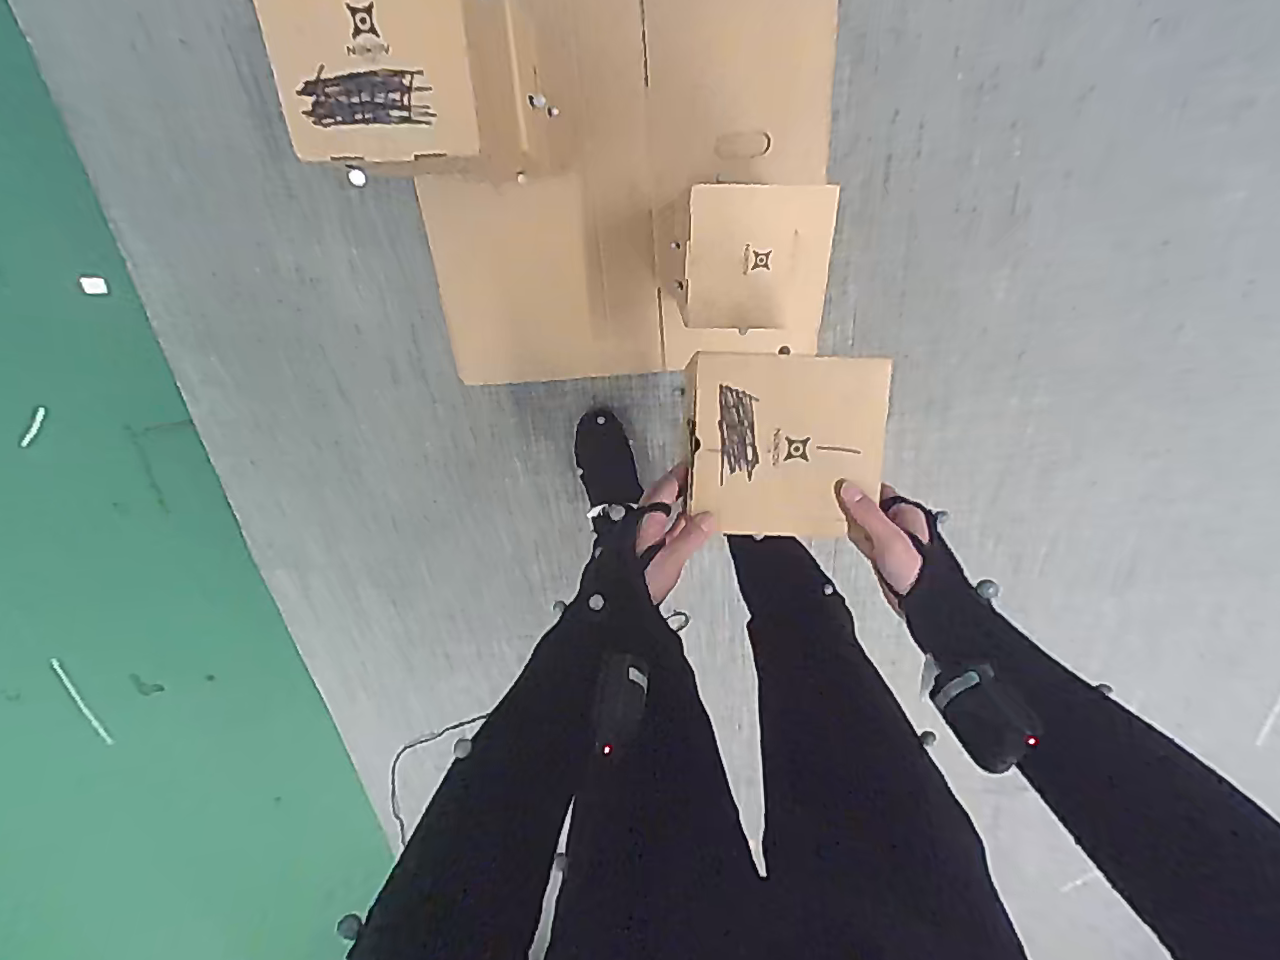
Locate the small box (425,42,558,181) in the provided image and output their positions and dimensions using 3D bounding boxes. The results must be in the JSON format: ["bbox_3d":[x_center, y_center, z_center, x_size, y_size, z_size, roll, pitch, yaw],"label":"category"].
[{"bbox_3d":[-0.219,-0.541,0.792,0.179,0.176,0.168,-3,115,2],"label":"small box"}]

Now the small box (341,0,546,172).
[{"bbox_3d":[-0.214,-0.471,0.647,0.179,0.176,0.168,-2,116,2],"label":"small box"}]

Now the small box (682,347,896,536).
[{"bbox_3d":[0.137,-0.043,0.565,0.179,0.176,0.168,2,98,1],"label":"small box"}]

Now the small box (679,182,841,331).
[{"bbox_3d":[0.145,-0.300,0.726,0.179,0.176,0.168,1,116,0],"label":"small box"}]
